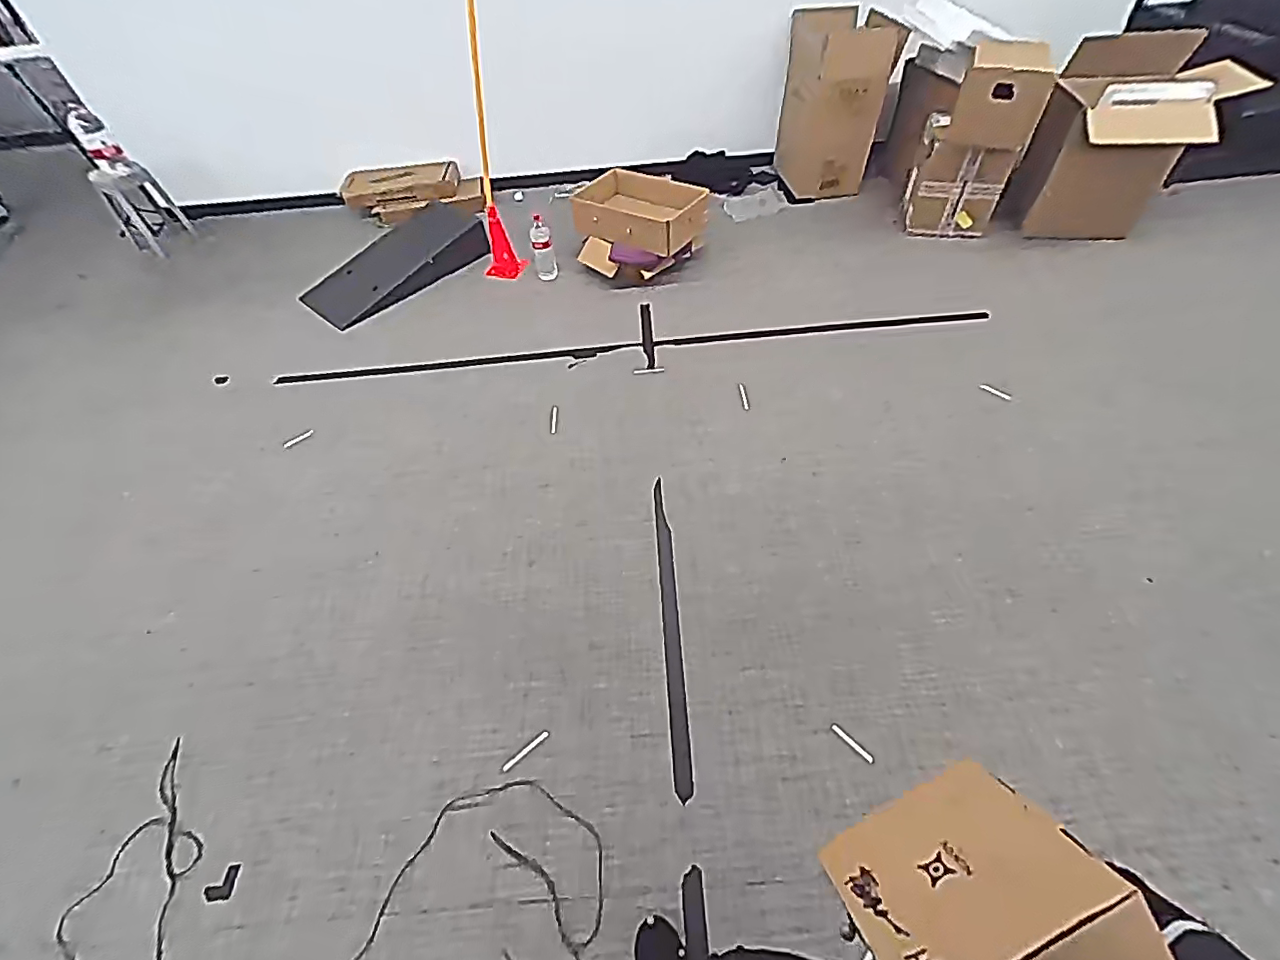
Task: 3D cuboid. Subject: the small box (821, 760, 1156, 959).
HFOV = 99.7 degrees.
[{"bbox_3d":[0.291,0.388,0.451,0.179,0.168,0.176,-28,93,-3],"label":"small box"}]
